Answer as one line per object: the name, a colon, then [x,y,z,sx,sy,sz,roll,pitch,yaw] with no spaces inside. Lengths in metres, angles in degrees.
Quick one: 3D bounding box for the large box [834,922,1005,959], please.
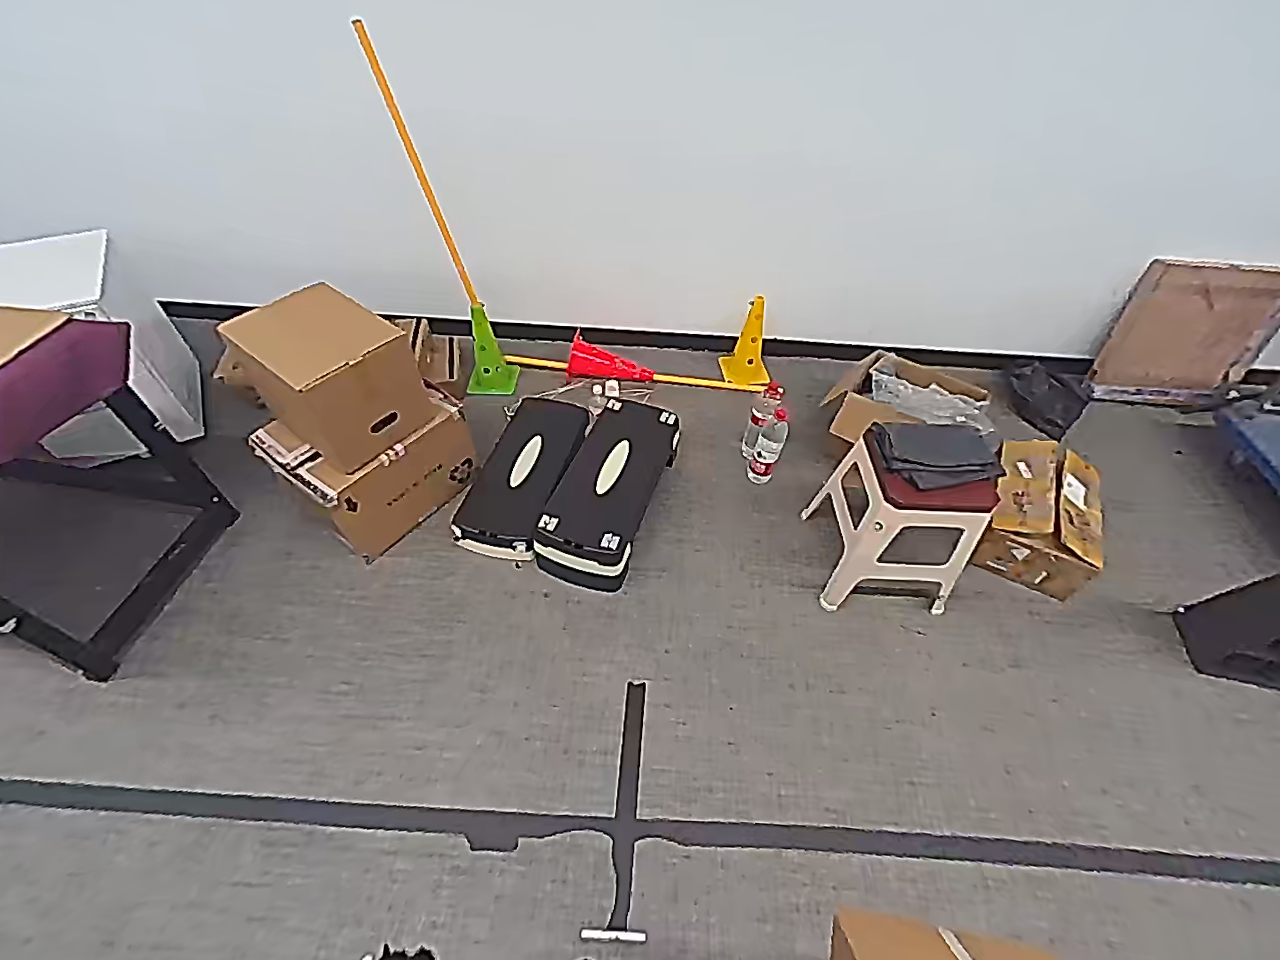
large box: [0.403,0.796,0.577,0.320,0.408,0.320,8,81,6]
